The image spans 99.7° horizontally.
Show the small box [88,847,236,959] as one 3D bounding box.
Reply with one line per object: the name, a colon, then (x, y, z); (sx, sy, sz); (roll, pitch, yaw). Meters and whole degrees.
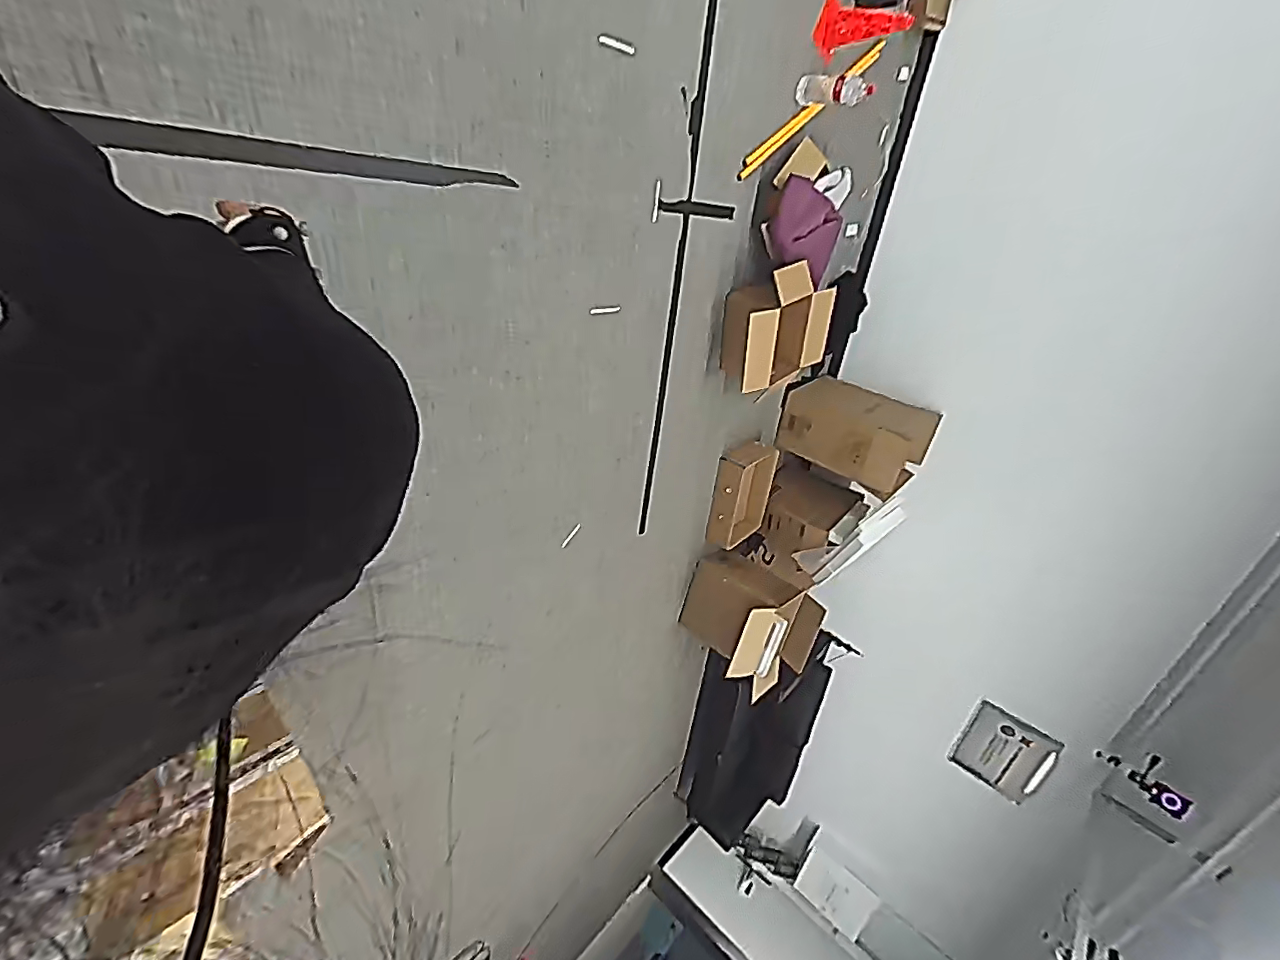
small box: (-0.941, 0.876, 1.067); (0.168, 0.176, 0.179); (-25, 129, -39)
